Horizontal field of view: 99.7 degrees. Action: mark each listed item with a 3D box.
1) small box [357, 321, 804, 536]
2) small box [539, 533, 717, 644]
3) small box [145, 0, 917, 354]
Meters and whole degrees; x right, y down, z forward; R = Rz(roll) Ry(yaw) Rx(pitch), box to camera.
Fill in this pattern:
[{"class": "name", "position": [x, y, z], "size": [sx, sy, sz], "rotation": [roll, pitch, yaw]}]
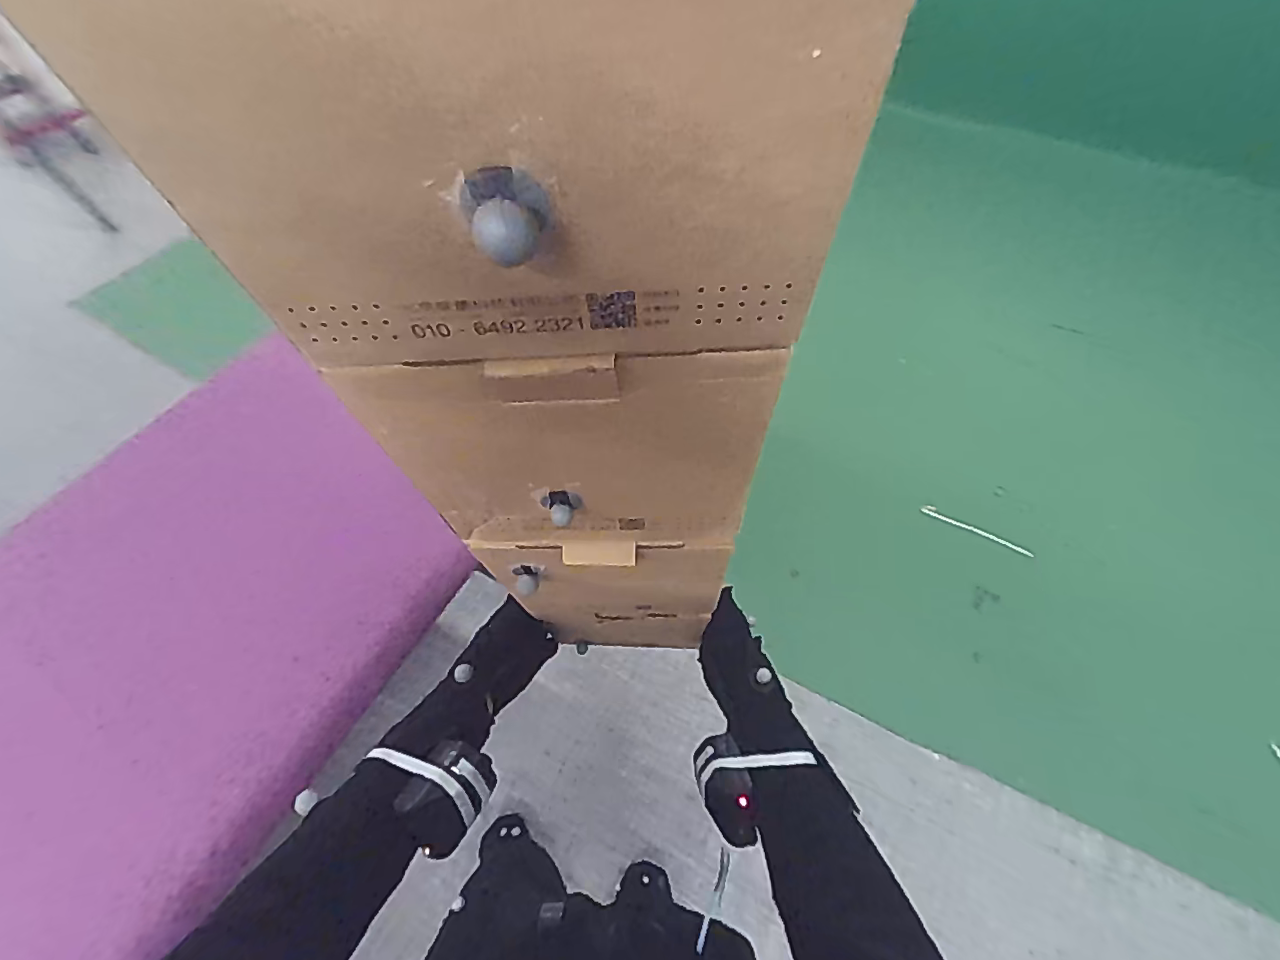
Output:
[{"class": "small box", "position": [-0.020, -0.081, 0.304], "size": [0.168, 0.176, 0.179], "rotation": [-1, 62, 2]}, {"class": "small box", "position": [-0.002, 0.076, 0.590], "size": [0.168, 0.176, 0.179], "rotation": [2, 63, 3]}, {"class": "small box", "position": [-0.026, -0.159, 0.159], "size": [0.168, 0.176, 0.179], "rotation": [-2, 62, 2]}]
